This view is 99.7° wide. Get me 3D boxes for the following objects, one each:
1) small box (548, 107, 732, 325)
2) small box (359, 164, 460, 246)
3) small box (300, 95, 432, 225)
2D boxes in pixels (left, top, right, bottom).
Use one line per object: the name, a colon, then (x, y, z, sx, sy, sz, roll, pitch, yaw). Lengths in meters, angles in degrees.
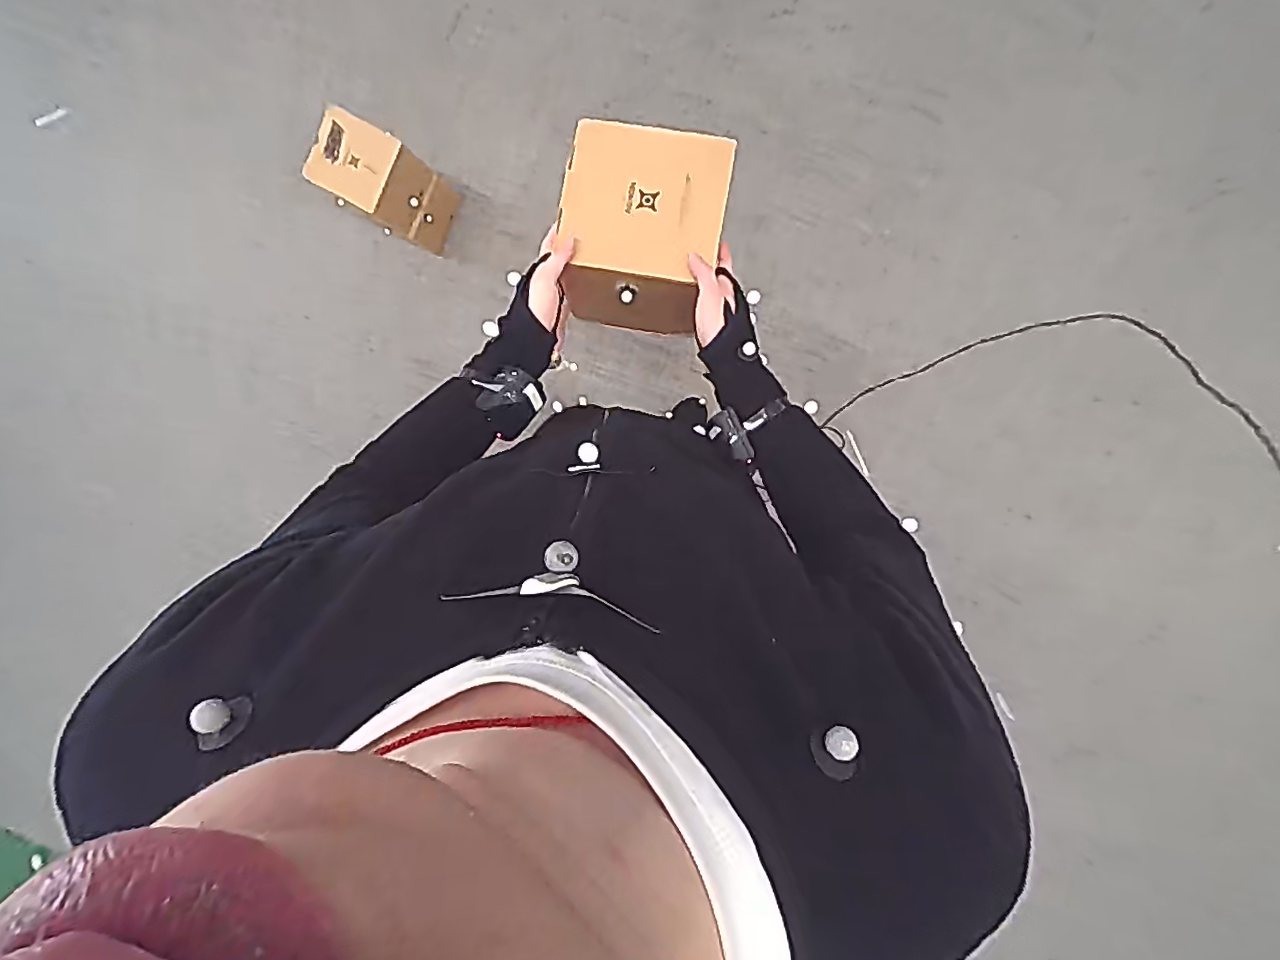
small box: (0.003, -0.302, 0.651, 0.179, 0.176, 0.168, 9, 85, 2)
small box: (-0.598, -0.731, 1.392, 0.179, 0.176, 0.168, 28, 98, -1)
small box: (-0.613, -0.713, 1.229, 0.179, 0.176, 0.168, 29, 99, -2)
